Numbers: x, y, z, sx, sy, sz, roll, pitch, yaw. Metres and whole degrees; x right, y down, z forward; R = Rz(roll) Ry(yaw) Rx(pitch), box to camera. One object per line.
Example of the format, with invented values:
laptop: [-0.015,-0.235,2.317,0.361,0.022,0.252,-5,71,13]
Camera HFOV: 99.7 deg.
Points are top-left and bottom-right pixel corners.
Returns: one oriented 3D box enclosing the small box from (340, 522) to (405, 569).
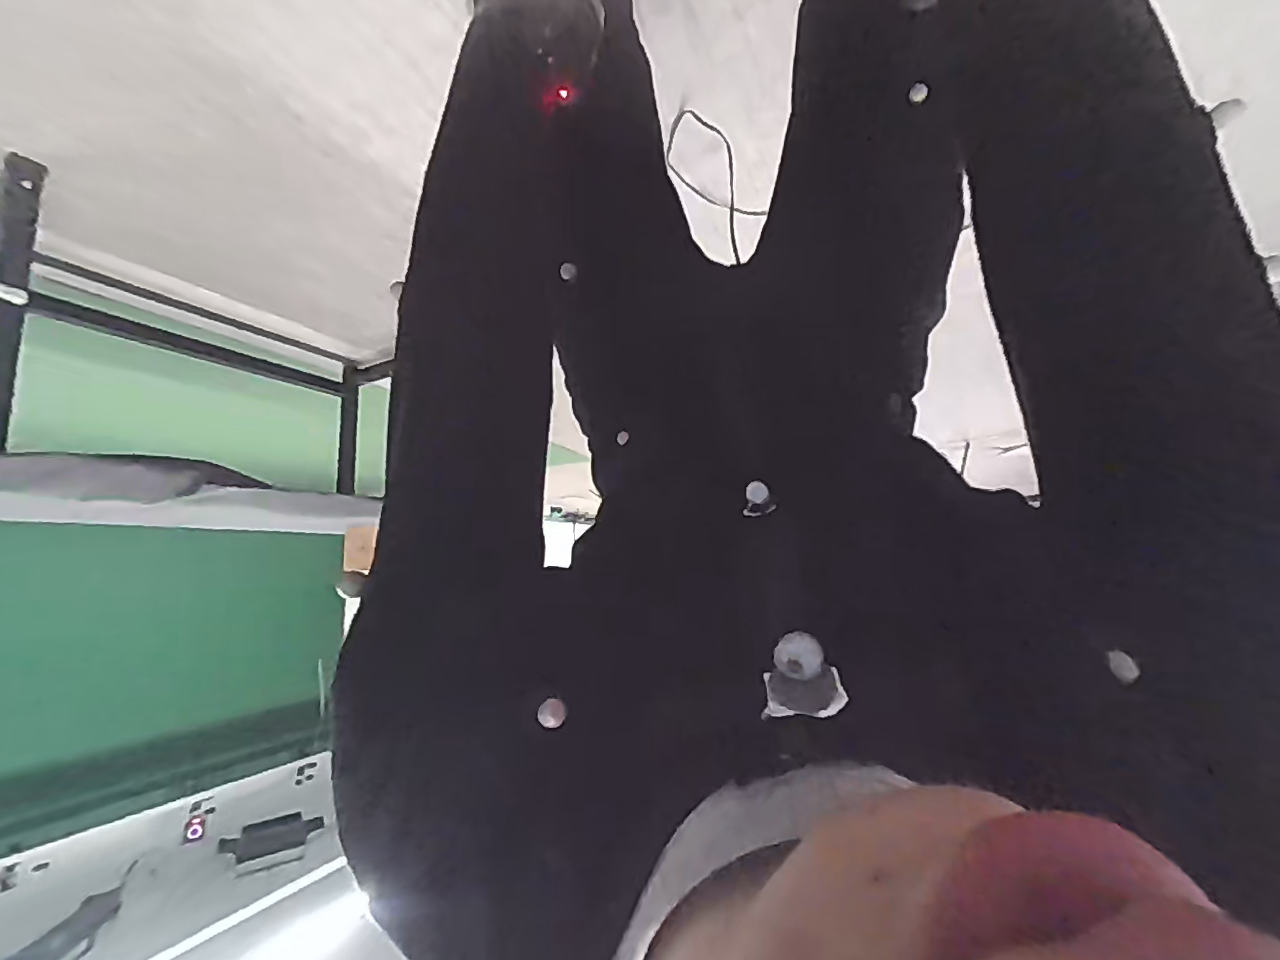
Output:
small box: [-1.040,0.255,2.104,0.179,0.176,0.168,-8,169,28]
